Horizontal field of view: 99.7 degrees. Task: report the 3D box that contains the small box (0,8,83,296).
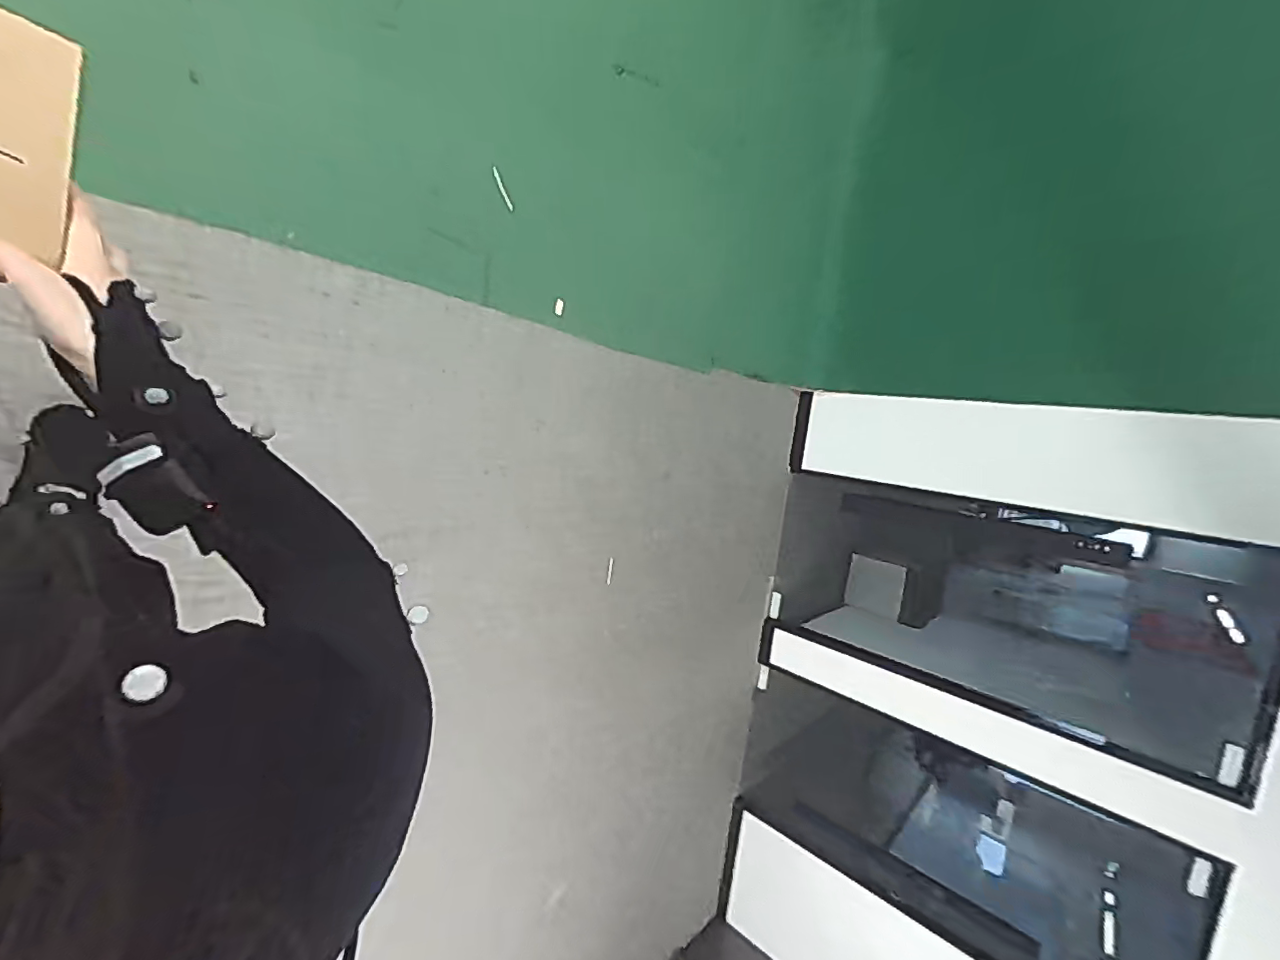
[{"bbox_3d":[-0.490,-0.223,0.340,0.179,0.176,0.168,4,101,-51],"label":"small box"}]
